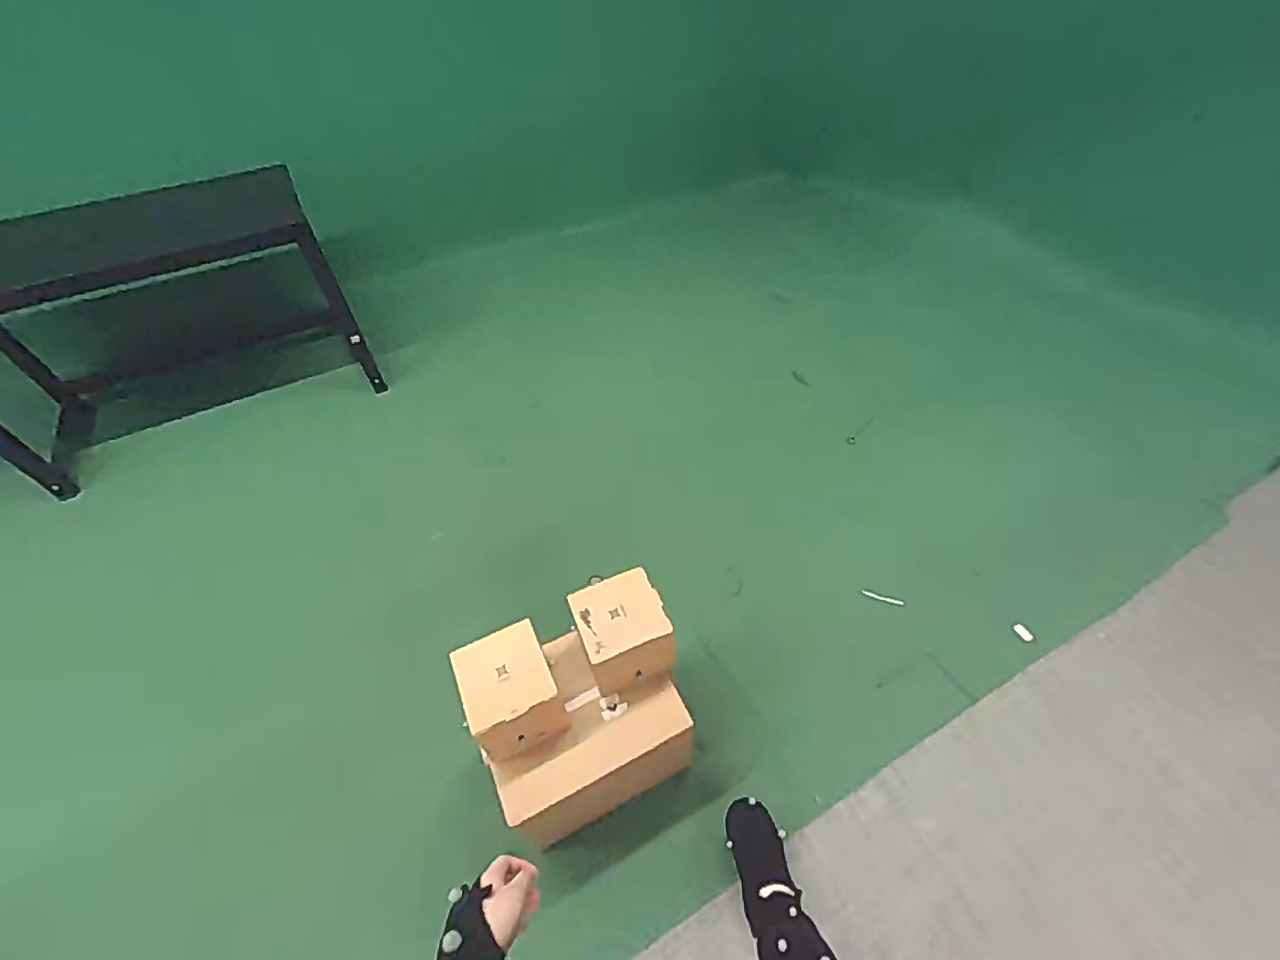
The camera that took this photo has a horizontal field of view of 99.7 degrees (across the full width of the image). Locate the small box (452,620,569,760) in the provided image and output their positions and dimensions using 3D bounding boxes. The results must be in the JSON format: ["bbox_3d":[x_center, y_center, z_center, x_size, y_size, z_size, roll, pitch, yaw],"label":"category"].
[{"bbox_3d":[-0.254,0.418,1.075,0.168,0.176,0.179,-22,51,-16],"label":"small box"}]

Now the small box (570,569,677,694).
[{"bbox_3d":[-0.035,0.322,1.144,0.179,0.176,0.168,-19,49,-12],"label":"small box"}]

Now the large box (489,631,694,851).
[{"bbox_3d":[-0.126,0.573,1.255,0.408,0.320,0.320,-22,52,-16],"label":"large box"}]
